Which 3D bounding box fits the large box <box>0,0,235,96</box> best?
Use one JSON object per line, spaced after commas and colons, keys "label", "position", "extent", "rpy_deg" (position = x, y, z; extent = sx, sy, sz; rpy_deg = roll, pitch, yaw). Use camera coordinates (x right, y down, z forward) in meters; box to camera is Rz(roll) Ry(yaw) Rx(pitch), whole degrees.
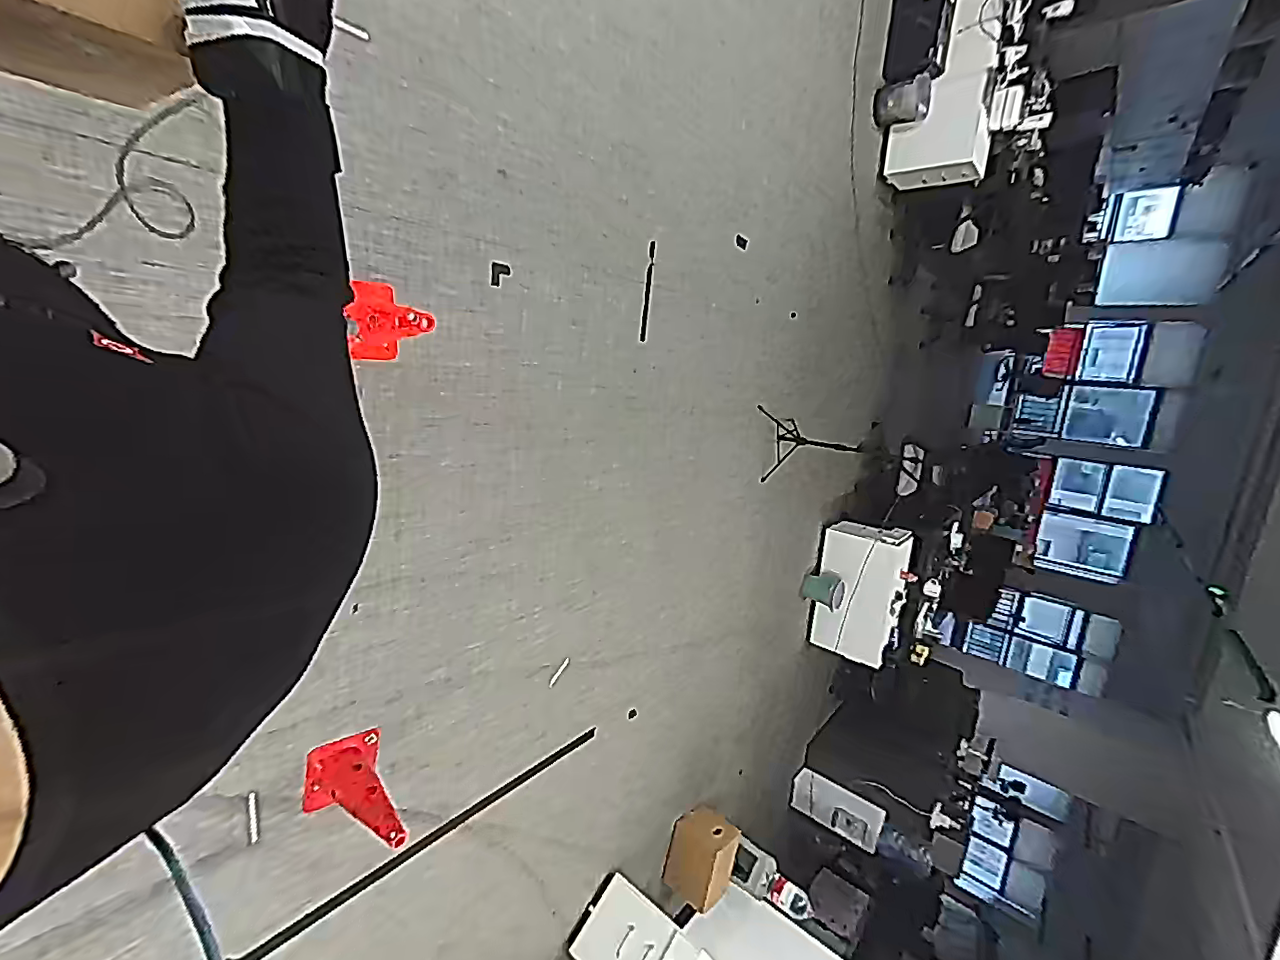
{"label": "large box", "position": [-0.505, -0.455, 0.270], "extent": [0.408, 0.320, 0.320], "rpy_deg": [-13, 119, -50]}

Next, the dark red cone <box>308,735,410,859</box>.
{"label": "dark red cone", "position": [-0.738, 0.894, 1.481], "extent": [0.201, 0.394, 0.202], "rpy_deg": [0, 101, -50]}

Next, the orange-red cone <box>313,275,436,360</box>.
{"label": "orange-red cone", "position": [-0.601, -0.385, 1.290], "extent": [0.198, 0.360, 0.199], "rpy_deg": [-13, 110, -50]}
